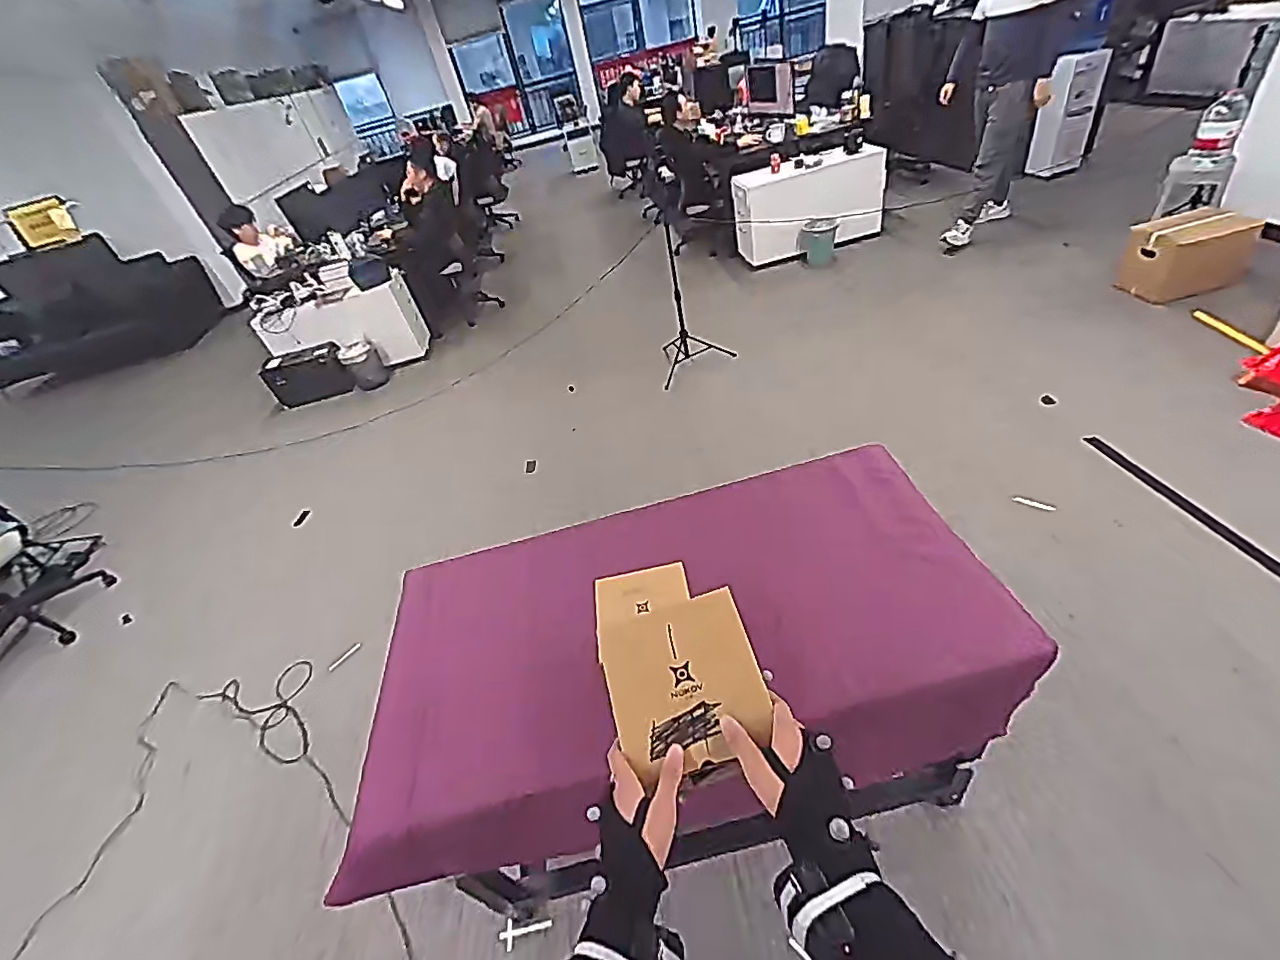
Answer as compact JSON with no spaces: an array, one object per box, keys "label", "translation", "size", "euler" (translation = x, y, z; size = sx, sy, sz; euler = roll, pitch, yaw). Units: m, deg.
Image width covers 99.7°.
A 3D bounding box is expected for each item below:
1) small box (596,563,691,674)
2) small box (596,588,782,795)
[{"label":"small box","translation":[0.022,0.282,0.973],"size":[0.168,0.176,0.179],"euler":[-12,39,3]},{"label":"small box","translation":[0.062,0.259,0.646],"size":[0.168,0.176,0.179],"euler":[-18,55,1]}]
